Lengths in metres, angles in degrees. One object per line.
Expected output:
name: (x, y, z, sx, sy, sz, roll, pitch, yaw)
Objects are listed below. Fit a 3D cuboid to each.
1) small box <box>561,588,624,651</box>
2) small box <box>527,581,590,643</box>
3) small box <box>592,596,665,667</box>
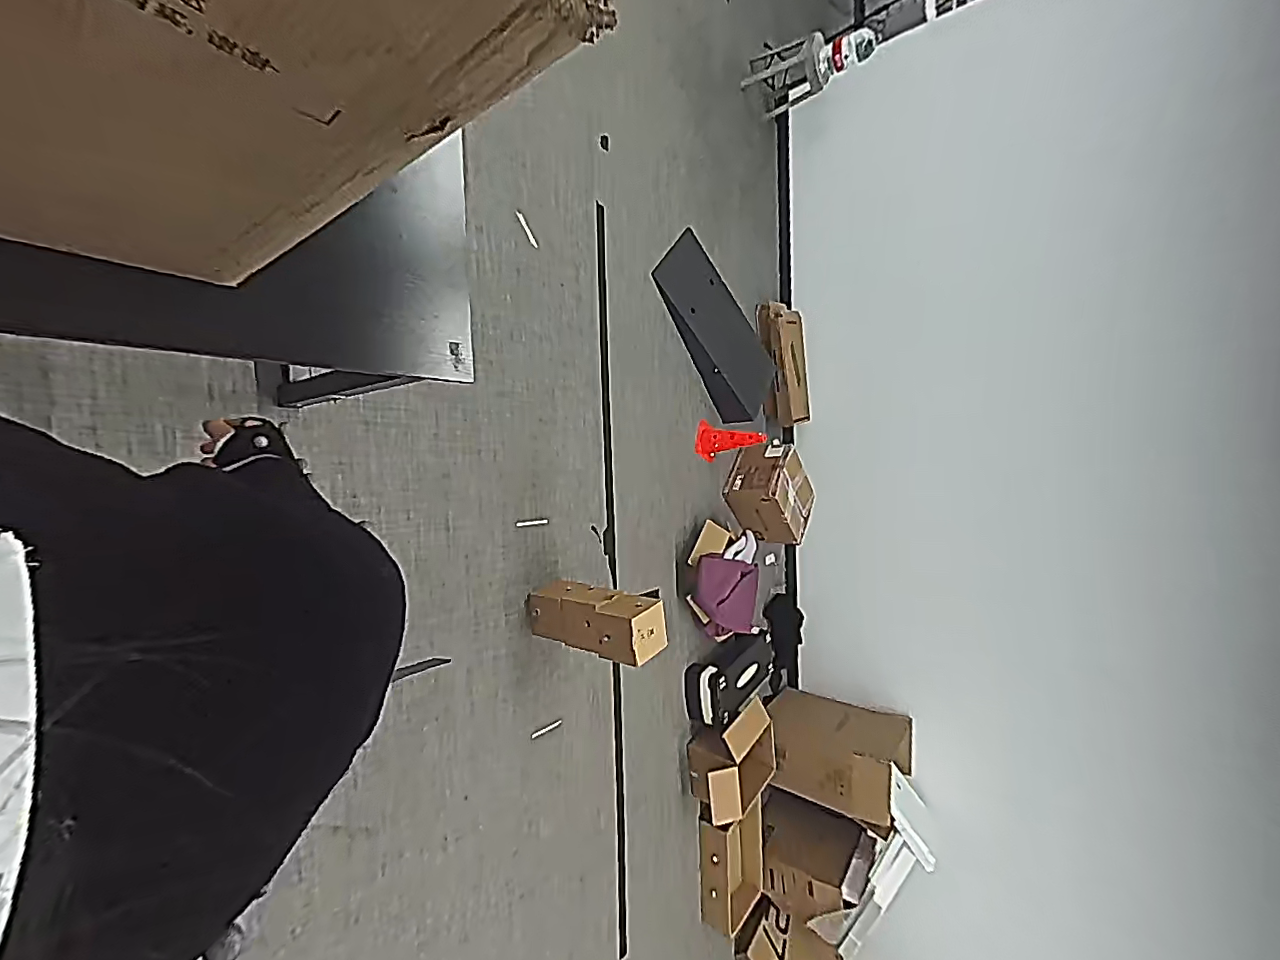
small box: (-0.166, 0.491, 1.923, 0.168, 0.176, 0.179, -11, 99, -52)
small box: (-0.298, 0.486, 2.021, 0.179, 0.176, 0.168, -14, 101, -50)
small box: (-0.038, 0.500, 1.819, 0.179, 0.176, 0.168, -17, 103, -51)
